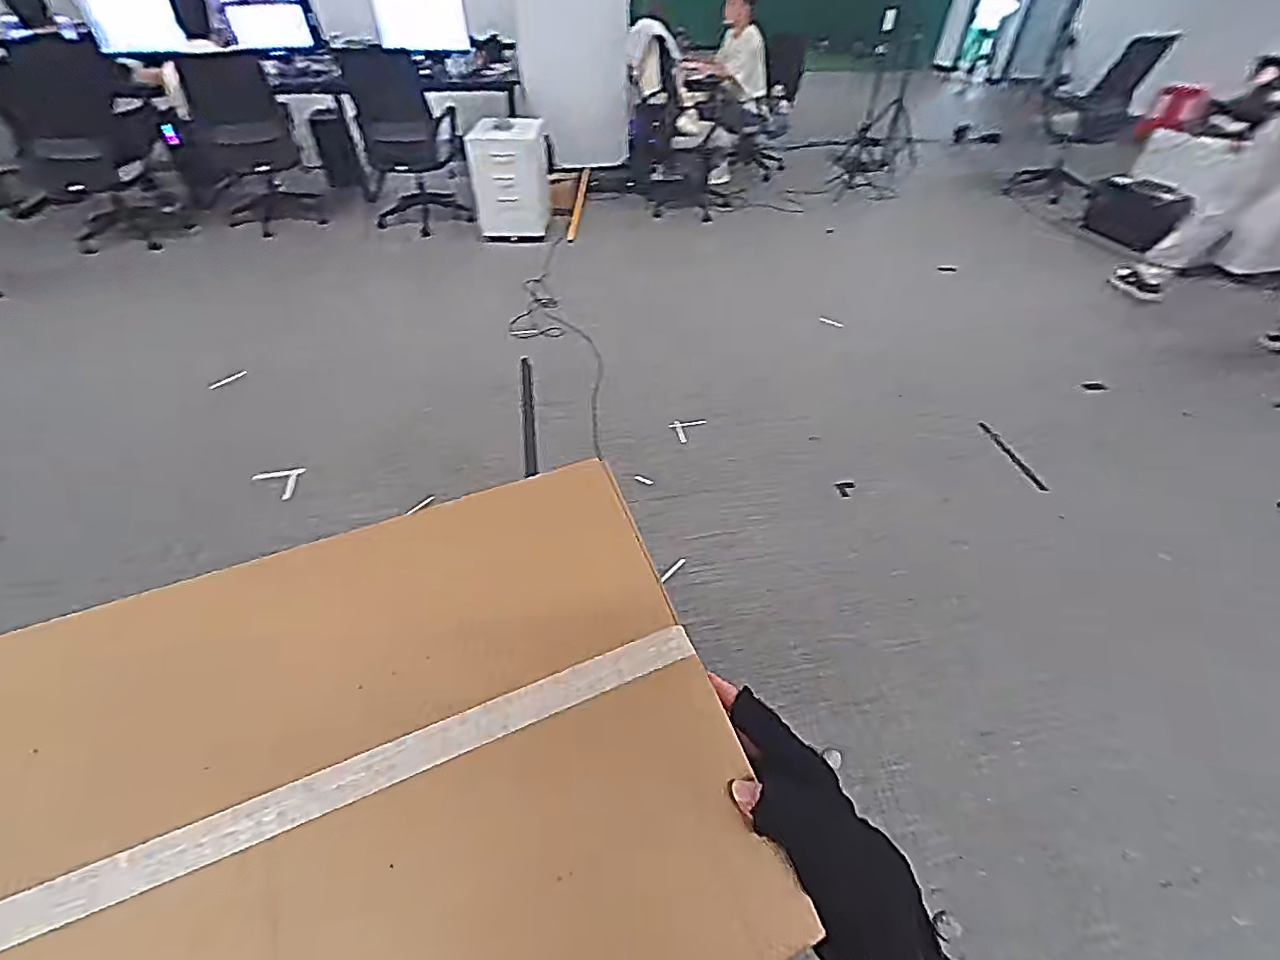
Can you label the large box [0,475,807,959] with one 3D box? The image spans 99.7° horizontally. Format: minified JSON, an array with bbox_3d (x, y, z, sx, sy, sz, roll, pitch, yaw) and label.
[{"bbox_3d":[-0.157,0.253,0.422,0.408,0.320,0.320,-17,58,-14],"label":"large box"}]
